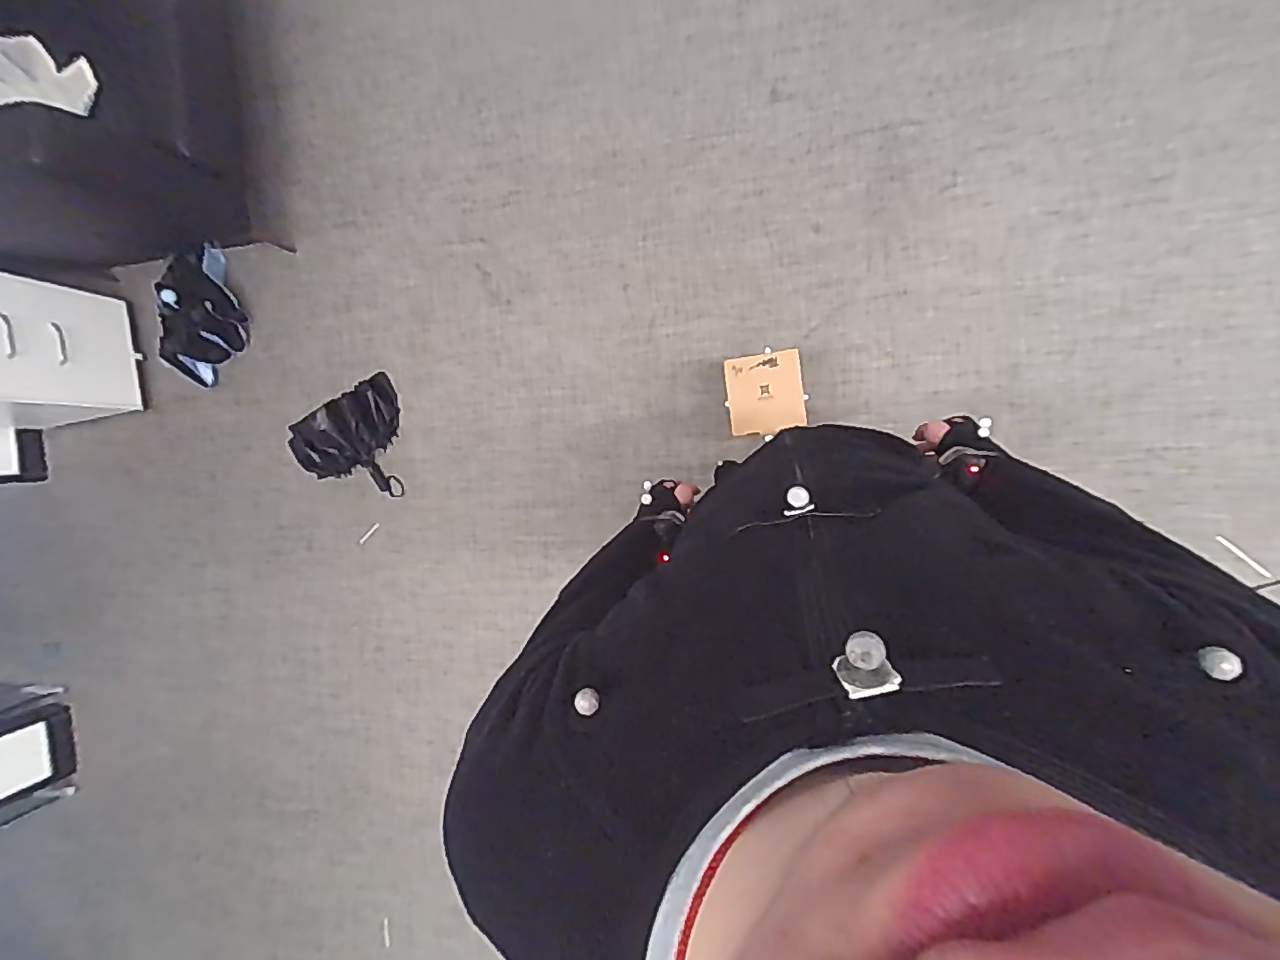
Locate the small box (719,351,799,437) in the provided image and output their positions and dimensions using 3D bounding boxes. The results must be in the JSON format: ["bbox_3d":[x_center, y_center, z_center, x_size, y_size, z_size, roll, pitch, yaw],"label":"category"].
[{"bbox_3d":[0.286,-0.199,1.289,0.168,0.176,0.179,-7,93,14],"label":"small box"}]
